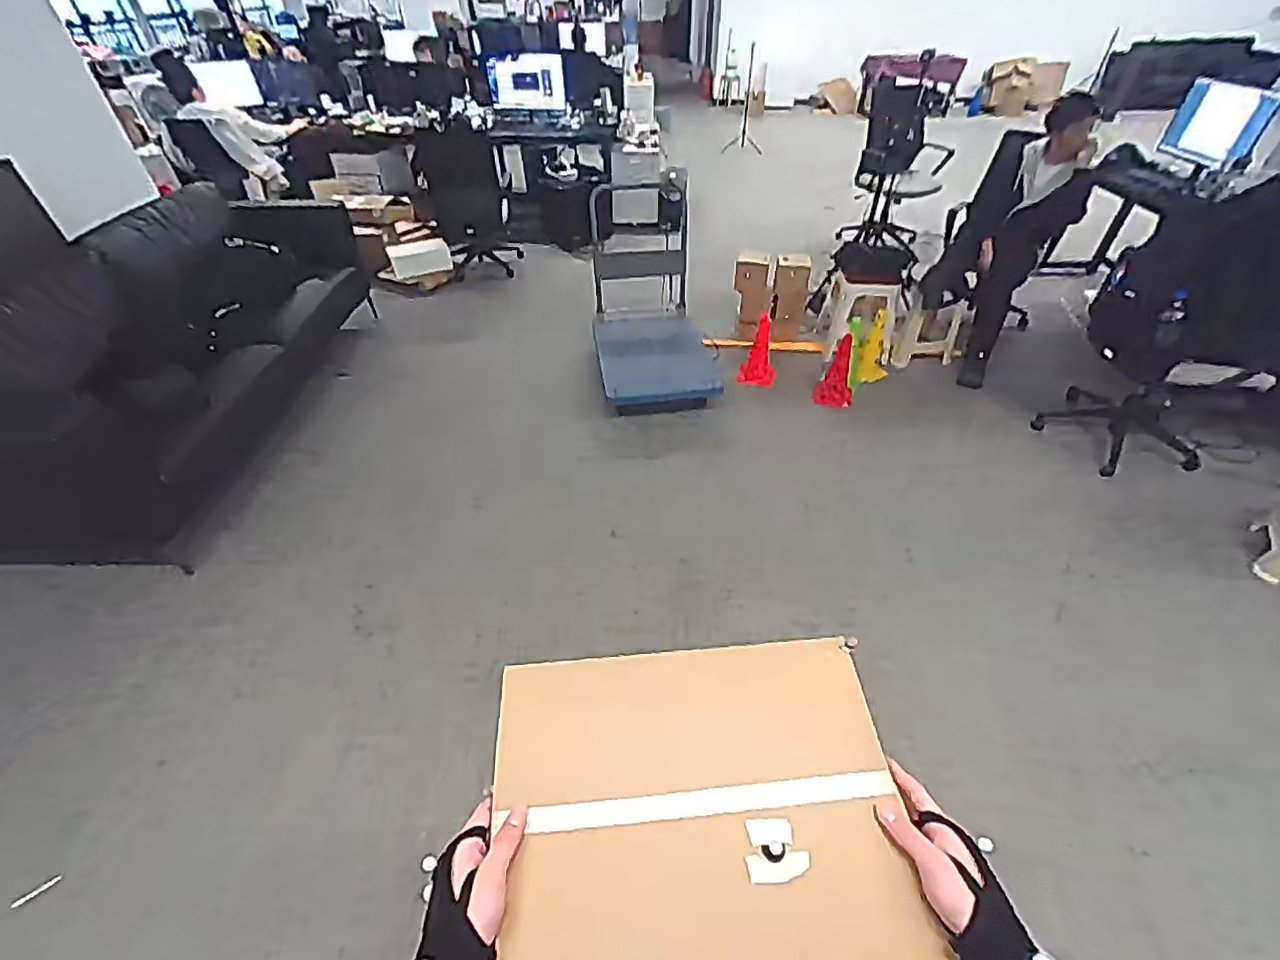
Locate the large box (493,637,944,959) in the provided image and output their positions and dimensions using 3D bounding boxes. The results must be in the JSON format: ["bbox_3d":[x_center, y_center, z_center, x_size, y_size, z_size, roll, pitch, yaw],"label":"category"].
[{"bbox_3d":[0.056,0.421,0.666,0.408,0.320,0.320,-4,51,-3],"label":"large box"}]
